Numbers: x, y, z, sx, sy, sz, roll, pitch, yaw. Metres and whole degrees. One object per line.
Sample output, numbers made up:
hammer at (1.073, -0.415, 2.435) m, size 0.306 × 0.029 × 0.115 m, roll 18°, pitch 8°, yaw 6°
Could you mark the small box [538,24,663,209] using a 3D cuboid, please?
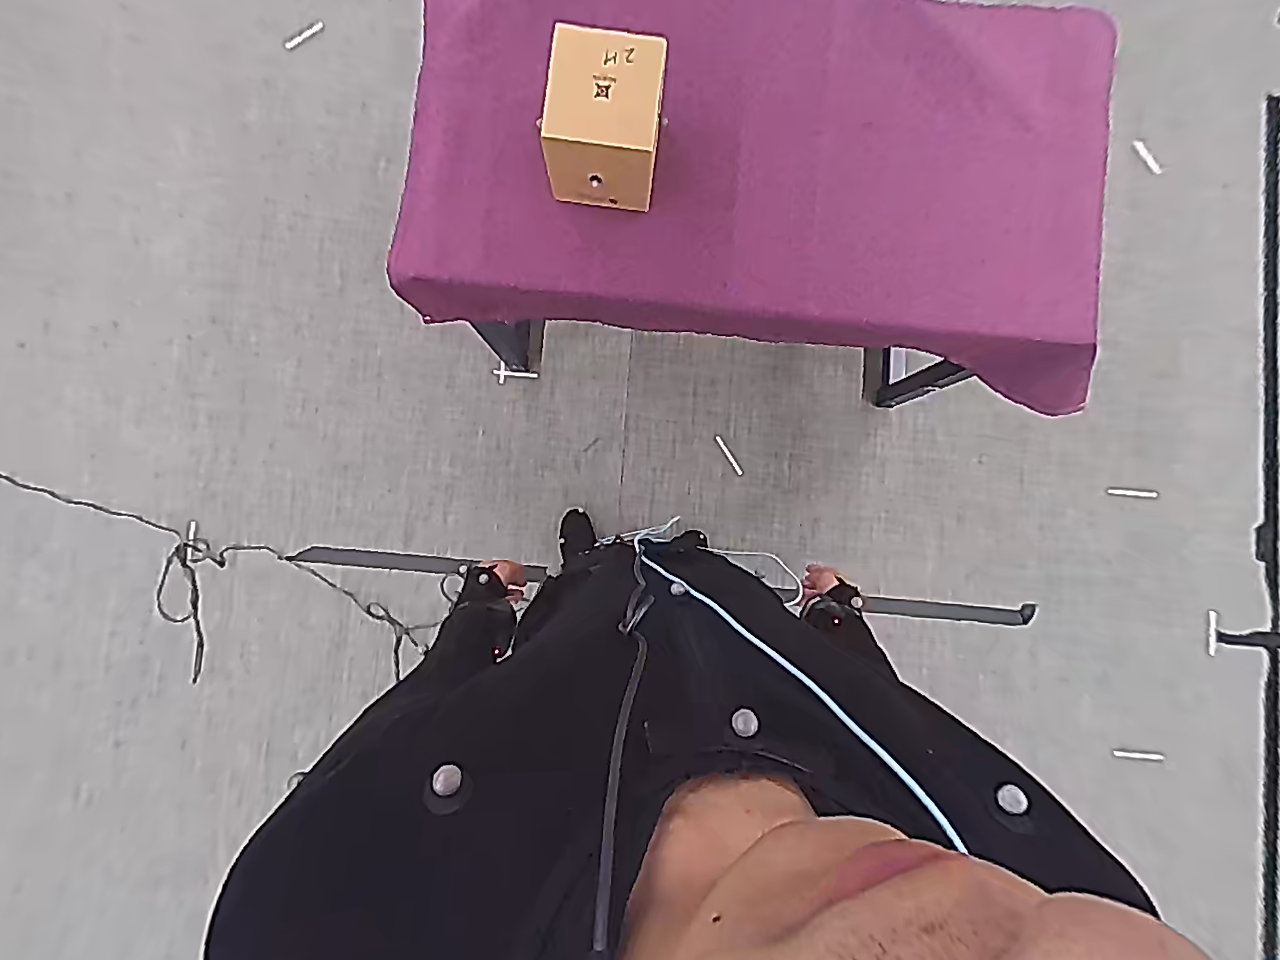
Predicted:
small box at (-0.059, -0.566, 0.865) m, size 0.168 × 0.176 × 0.179 m, roll 7°, pitch 87°, yaw -2°
